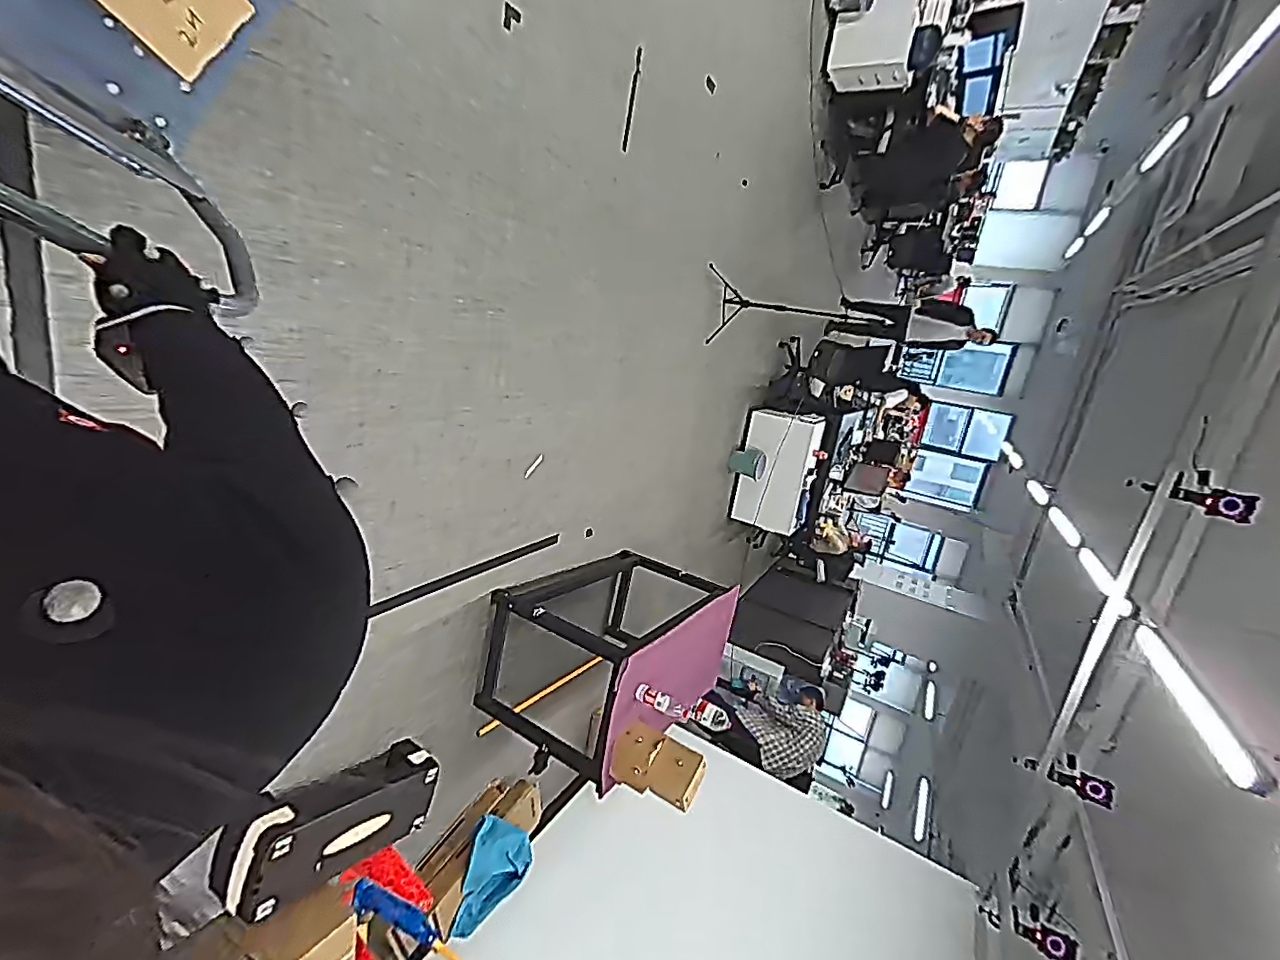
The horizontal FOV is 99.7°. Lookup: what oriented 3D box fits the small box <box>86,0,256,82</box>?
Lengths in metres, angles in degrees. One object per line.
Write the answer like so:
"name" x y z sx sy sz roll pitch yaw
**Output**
"small box" -0.760 -0.771 0.838 0.168 0.176 0.179 -51 152 -3
